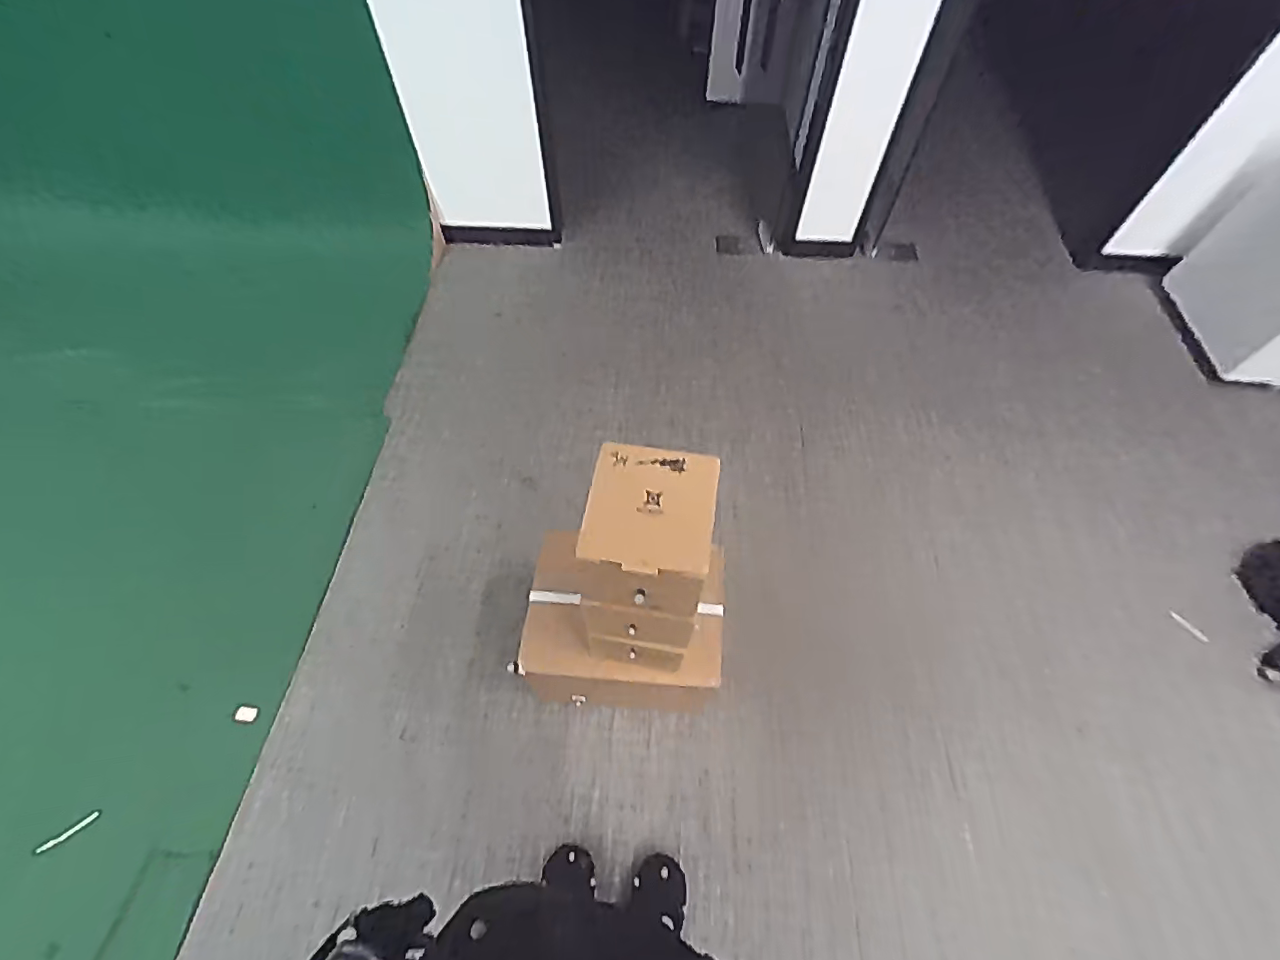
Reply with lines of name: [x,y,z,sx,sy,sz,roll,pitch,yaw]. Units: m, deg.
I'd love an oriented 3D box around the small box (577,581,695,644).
small box: [0.007,0.166,0.902,0.179,0.176,0.168,8,60,6]

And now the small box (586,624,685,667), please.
small box: [0.003,0.252,1.041,0.179,0.176,0.168,10,61,4]

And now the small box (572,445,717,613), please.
small box: [0.011,0.076,0.765,0.168,0.176,0.179,9,61,5]
